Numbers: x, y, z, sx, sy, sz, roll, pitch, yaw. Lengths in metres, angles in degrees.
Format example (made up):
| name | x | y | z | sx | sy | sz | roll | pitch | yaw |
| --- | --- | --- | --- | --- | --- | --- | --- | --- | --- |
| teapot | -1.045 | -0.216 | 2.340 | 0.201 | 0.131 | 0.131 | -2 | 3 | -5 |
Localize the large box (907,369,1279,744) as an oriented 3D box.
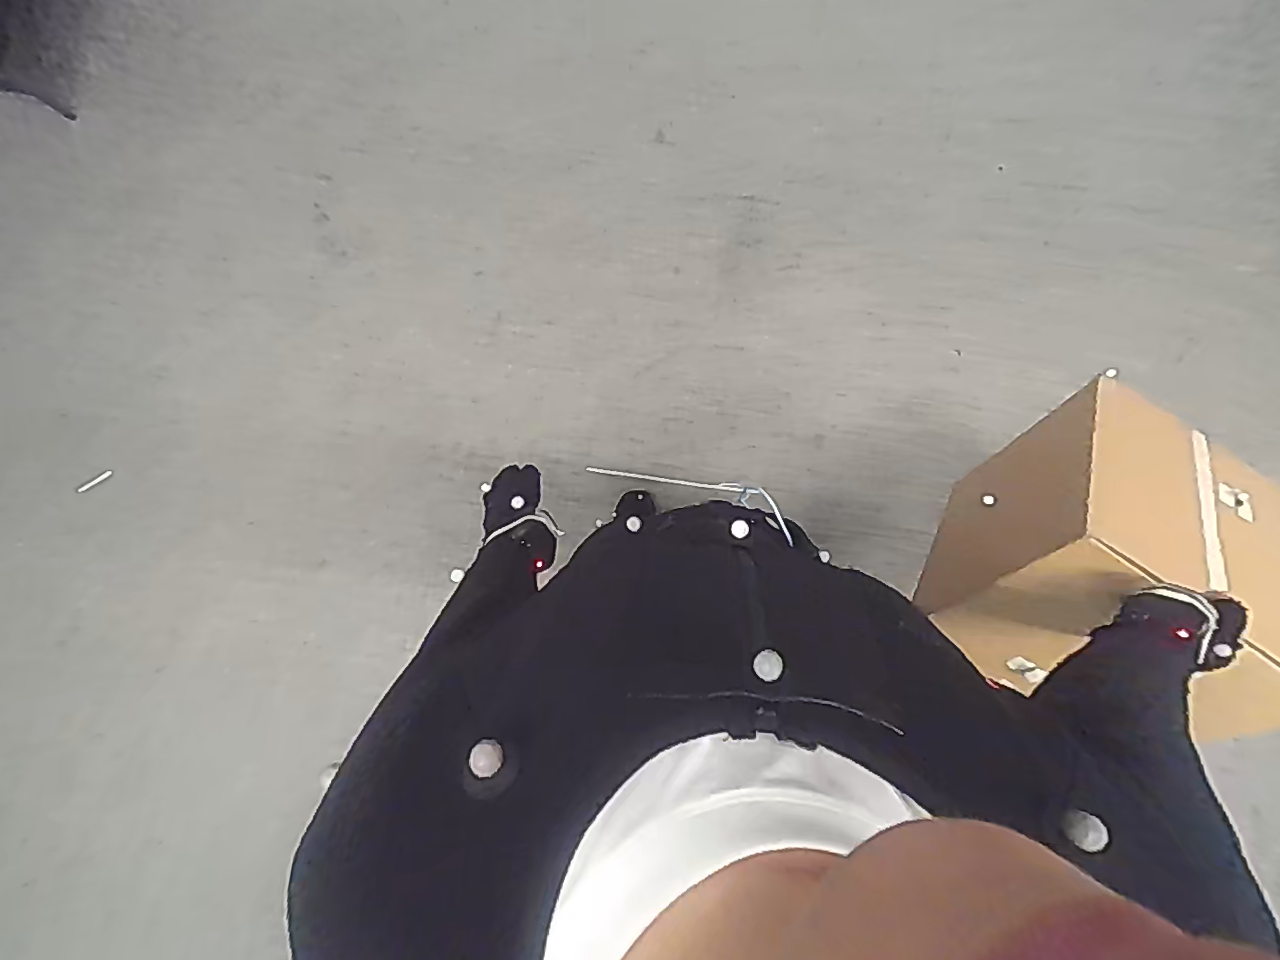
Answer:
| name | x | y | z | sx | sy | sz | roll | pitch | yaw |
| --- | --- | --- | --- | --- | --- | --- | --- | --- | --- |
| large box | 0.677 | 0.112 | 0.827 | 0.320 | 0.320 | 0.408 | 38 | 52 | 7 |
